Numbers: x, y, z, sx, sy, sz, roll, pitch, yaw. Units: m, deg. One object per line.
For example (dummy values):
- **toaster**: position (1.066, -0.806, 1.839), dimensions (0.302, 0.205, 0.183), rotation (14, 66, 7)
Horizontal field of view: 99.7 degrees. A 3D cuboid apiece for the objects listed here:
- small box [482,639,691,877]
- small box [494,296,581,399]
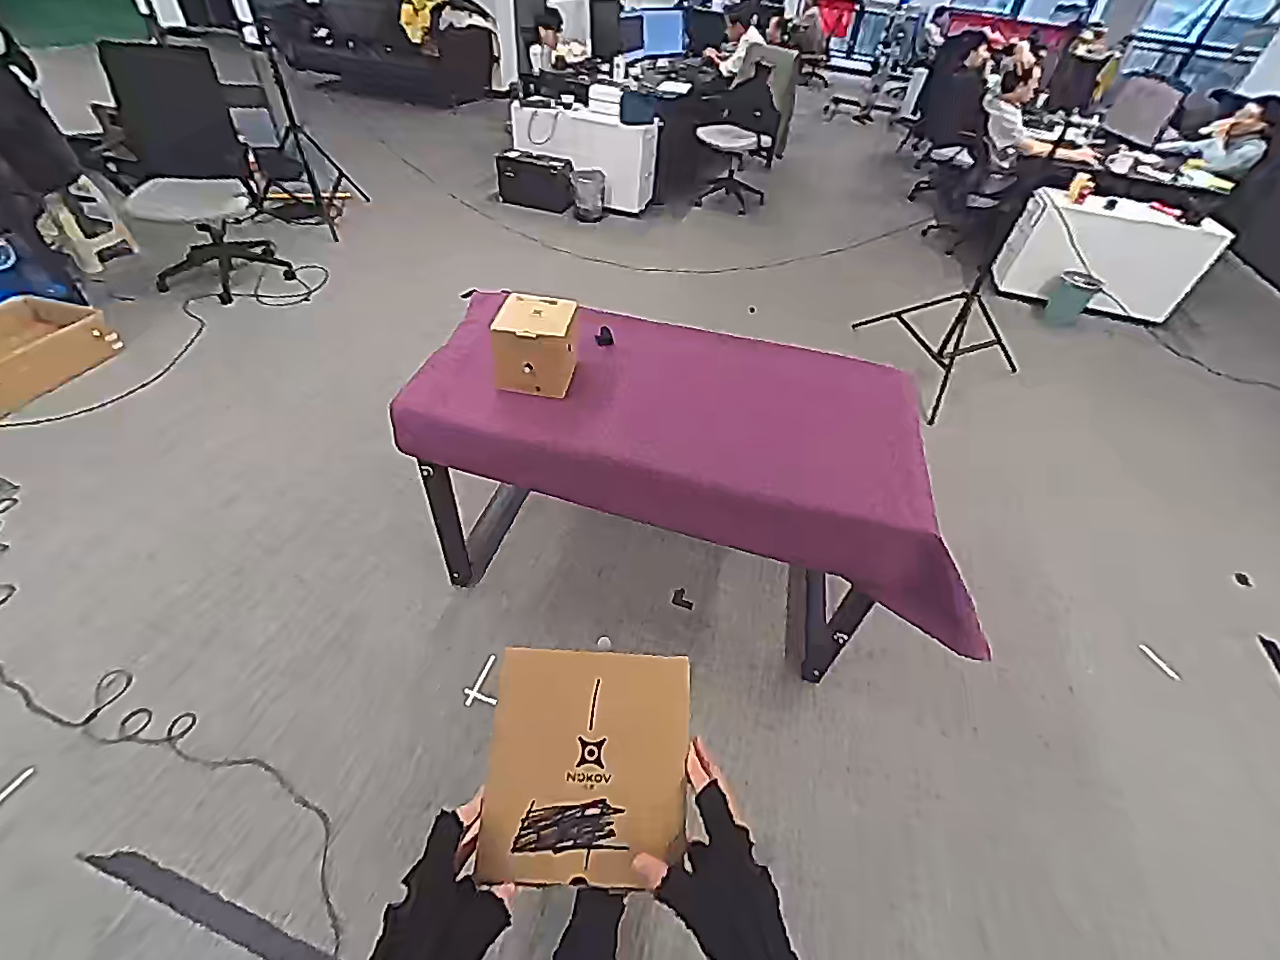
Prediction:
- **small box**: position (-0.044, 0.250, 0.526), dimensions (0.168, 0.176, 0.179), rotation (3, 73, -3)
- **small box**: position (-0.239, -0.316, 1.301), dimensions (0.168, 0.176, 0.179), rotation (8, 45, 1)
